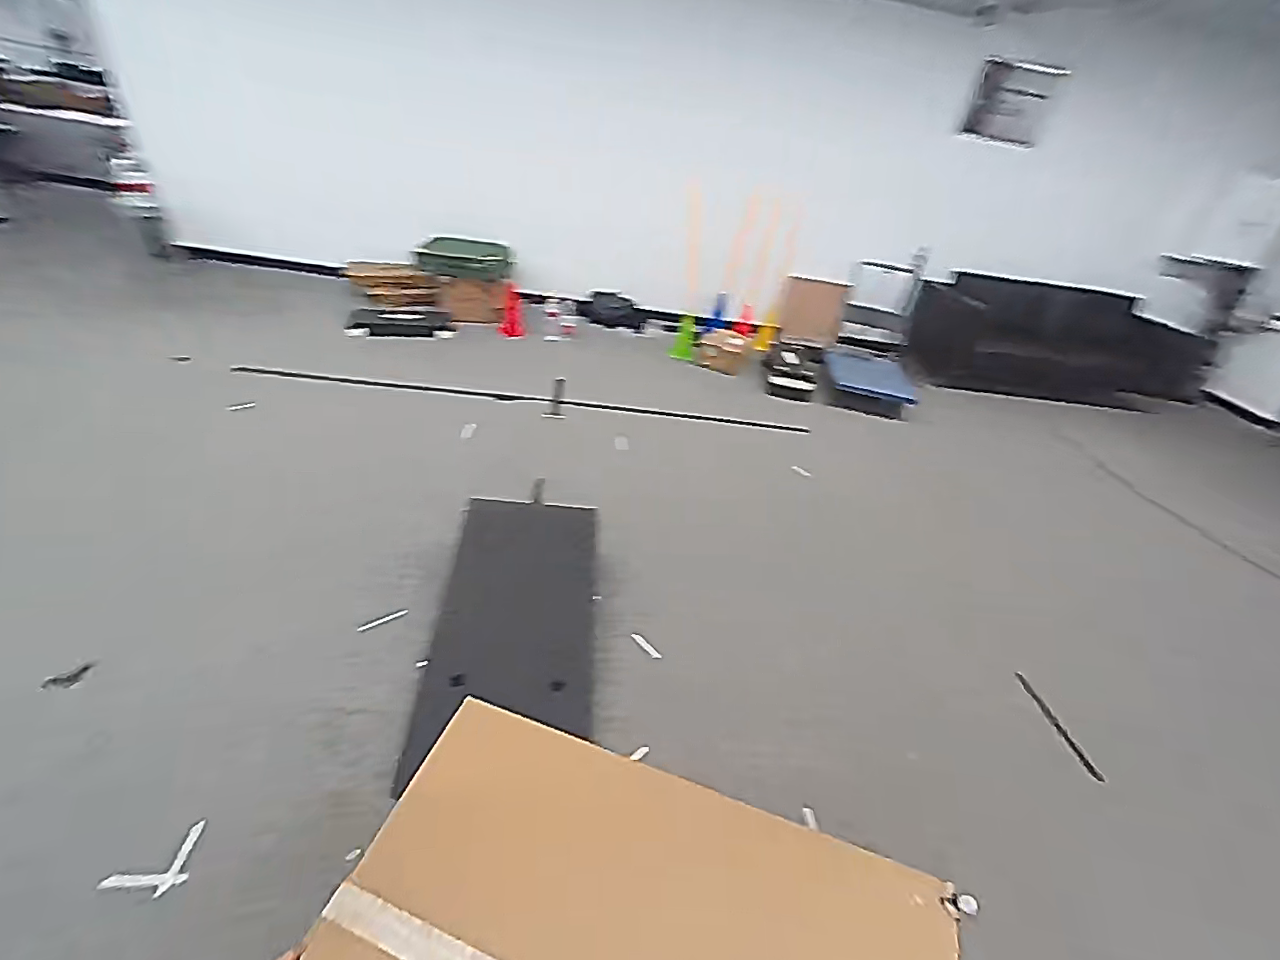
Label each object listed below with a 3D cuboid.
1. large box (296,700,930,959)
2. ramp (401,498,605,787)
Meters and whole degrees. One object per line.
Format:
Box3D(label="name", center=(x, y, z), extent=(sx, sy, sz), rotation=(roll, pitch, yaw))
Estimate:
Box3D(label="large box", center=(-0.029, 0.445, 0.434), extent=(0.408, 0.320, 0.320), rotation=(14, 44, 13))
Box3D(label="ramp", center=(-0.364, 0.444, 1.724), extent=(0.509, 0.206, 0.991), rotation=(6, 34, -9))
